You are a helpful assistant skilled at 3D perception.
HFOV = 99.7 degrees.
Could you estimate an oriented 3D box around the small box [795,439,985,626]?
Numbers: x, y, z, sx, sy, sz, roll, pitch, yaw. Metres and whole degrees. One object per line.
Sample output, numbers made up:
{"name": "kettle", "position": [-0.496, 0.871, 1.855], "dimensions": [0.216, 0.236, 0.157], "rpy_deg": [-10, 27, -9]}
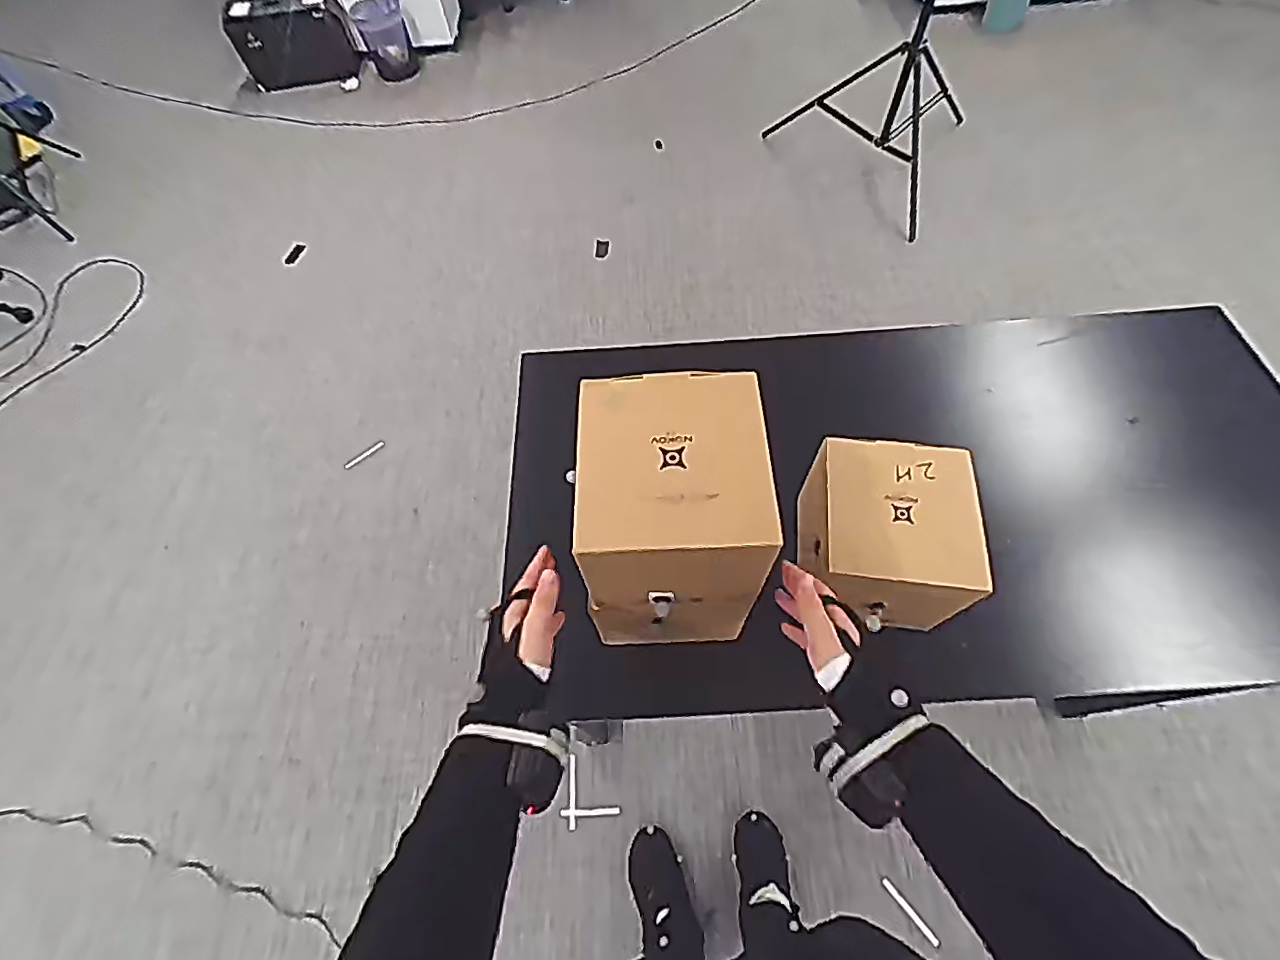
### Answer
{"name": "small box", "position": [0.295, 0.072, 0.676], "dimensions": [0.168, 0.176, 0.179], "rpy_deg": [6, 61, 7]}

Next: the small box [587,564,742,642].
{"name": "small box", "position": [0.034, 0.101, 0.677], "dimensions": [0.179, 0.176, 0.168], "rpy_deg": [-3, 61, 2]}

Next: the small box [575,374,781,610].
{"name": "small box", "position": [0.032, 0.018, 0.535], "dimensions": [0.168, 0.176, 0.179], "rpy_deg": [-3, 61, 2]}
